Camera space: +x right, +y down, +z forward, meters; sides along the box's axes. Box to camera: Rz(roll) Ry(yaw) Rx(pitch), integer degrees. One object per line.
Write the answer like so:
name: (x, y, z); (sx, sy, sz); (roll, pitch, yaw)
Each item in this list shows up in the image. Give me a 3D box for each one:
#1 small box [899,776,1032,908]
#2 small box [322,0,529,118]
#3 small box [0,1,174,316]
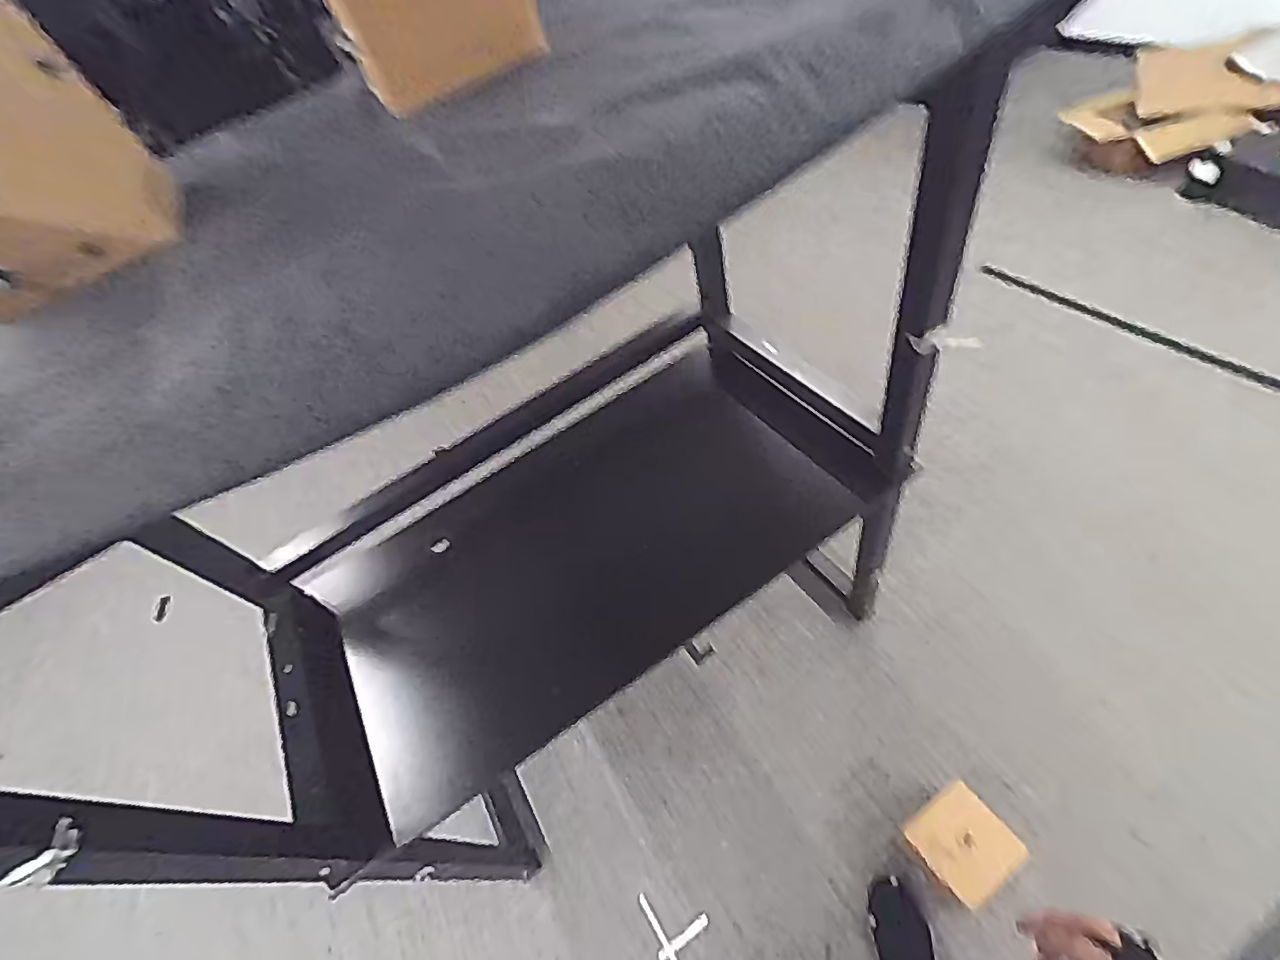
small box: (0.692, 0.781, 1.173); (0.179, 0.176, 0.168); (-36, 52, -10)
small box: (-0.231, -0.506, 0.543); (0.179, 0.176, 0.168); (-32, 52, -7)
small box: (-0.549, -0.268, 0.462); (0.168, 0.176, 0.179); (-34, 51, -9)
